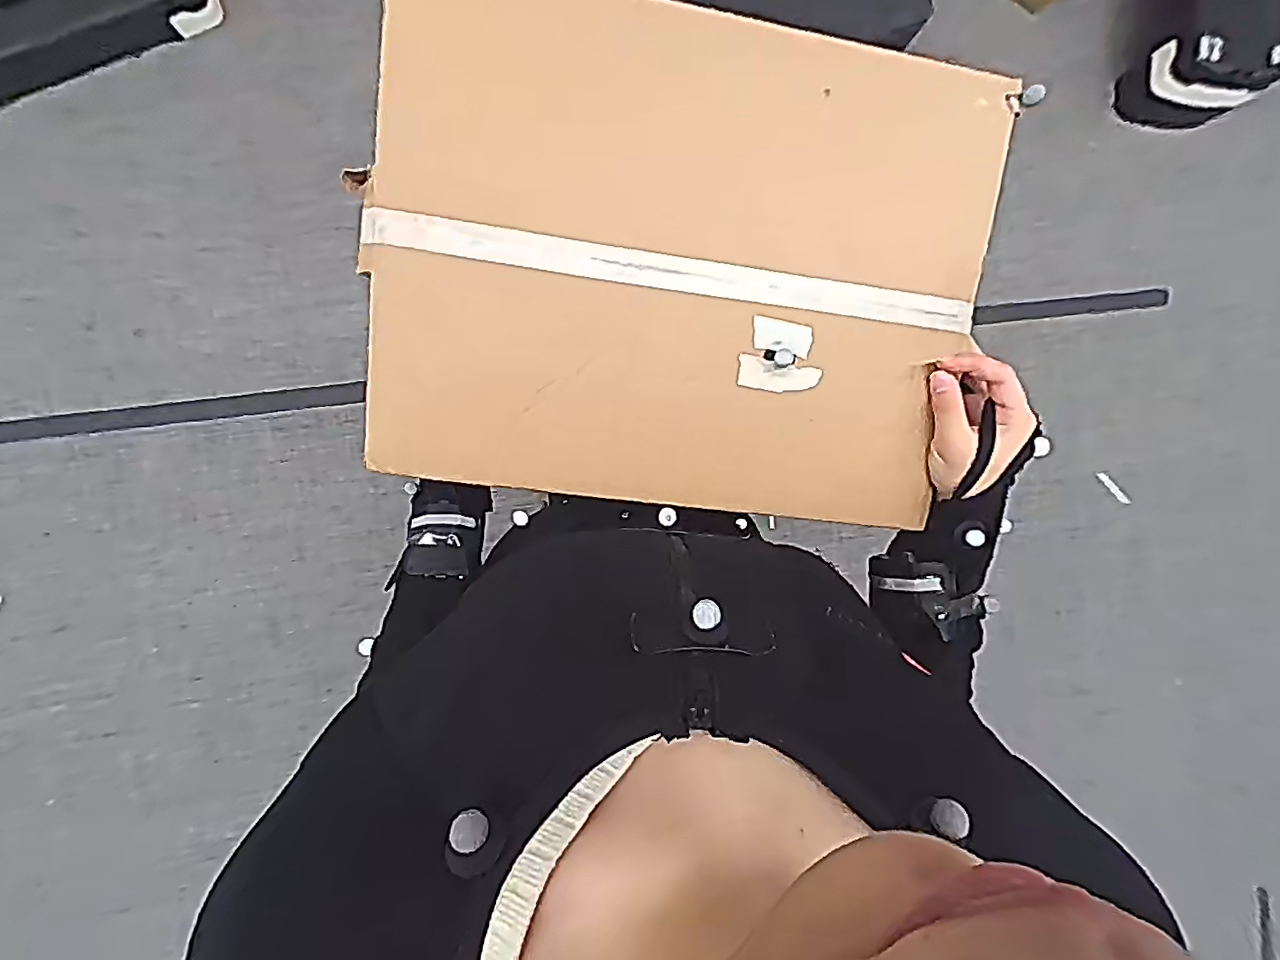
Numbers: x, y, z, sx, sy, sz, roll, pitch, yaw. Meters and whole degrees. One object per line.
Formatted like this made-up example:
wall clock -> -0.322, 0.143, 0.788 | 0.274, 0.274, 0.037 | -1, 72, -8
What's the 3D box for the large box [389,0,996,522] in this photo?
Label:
large box -> 0.019, -0.156, 0.517 | 0.408, 0.320, 0.320 | 6, 100, -8
